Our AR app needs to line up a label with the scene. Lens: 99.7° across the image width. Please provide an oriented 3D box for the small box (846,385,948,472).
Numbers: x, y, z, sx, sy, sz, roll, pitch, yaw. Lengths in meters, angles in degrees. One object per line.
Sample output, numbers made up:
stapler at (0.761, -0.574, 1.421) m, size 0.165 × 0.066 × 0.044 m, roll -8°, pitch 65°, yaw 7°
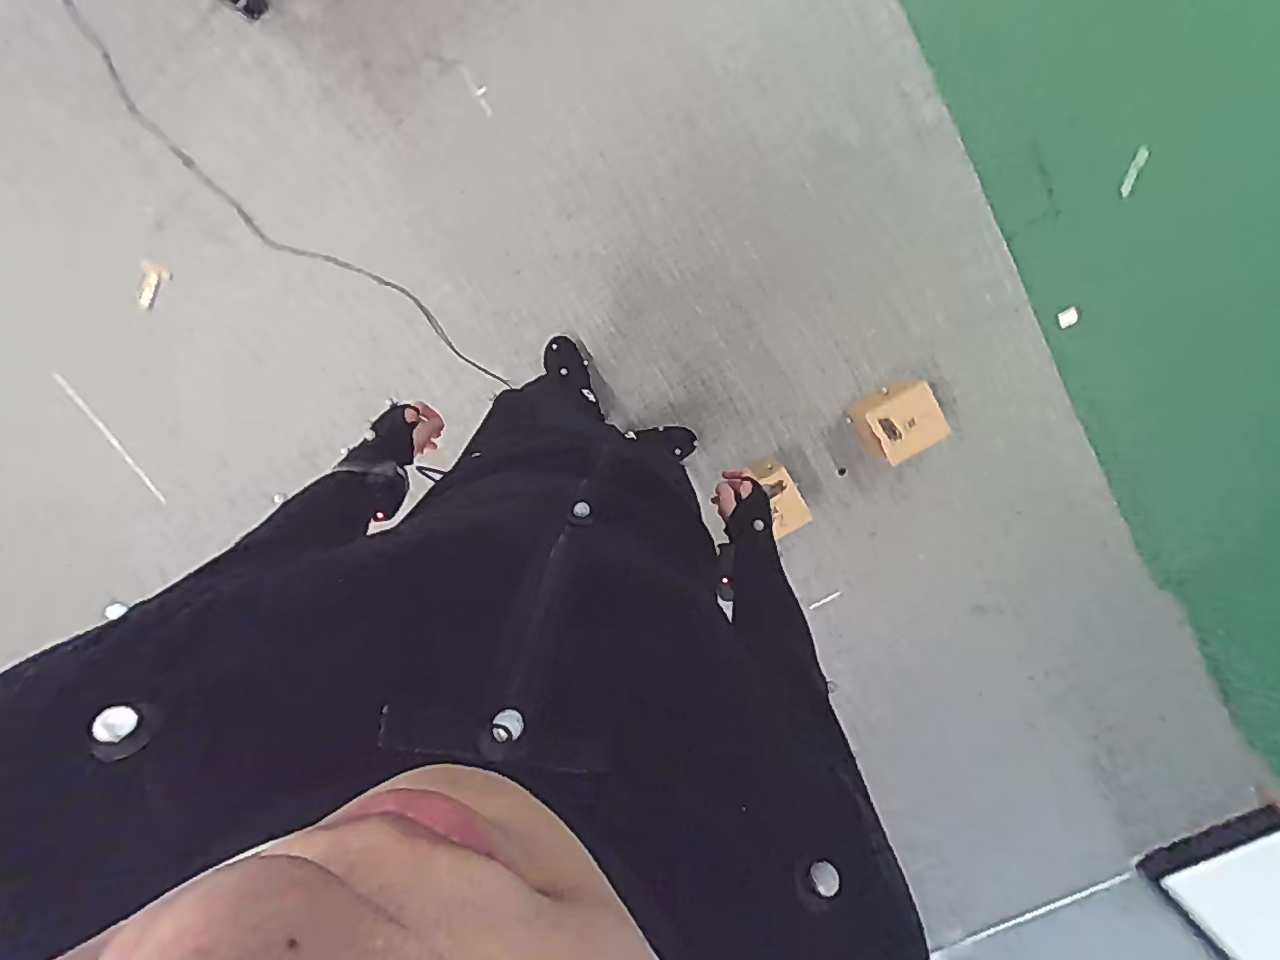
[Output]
small box at (0.689, -0.145, 1.478) m, size 0.179 × 0.176 × 0.168 m, roll -30°, pitch 101°, yaw 7°
